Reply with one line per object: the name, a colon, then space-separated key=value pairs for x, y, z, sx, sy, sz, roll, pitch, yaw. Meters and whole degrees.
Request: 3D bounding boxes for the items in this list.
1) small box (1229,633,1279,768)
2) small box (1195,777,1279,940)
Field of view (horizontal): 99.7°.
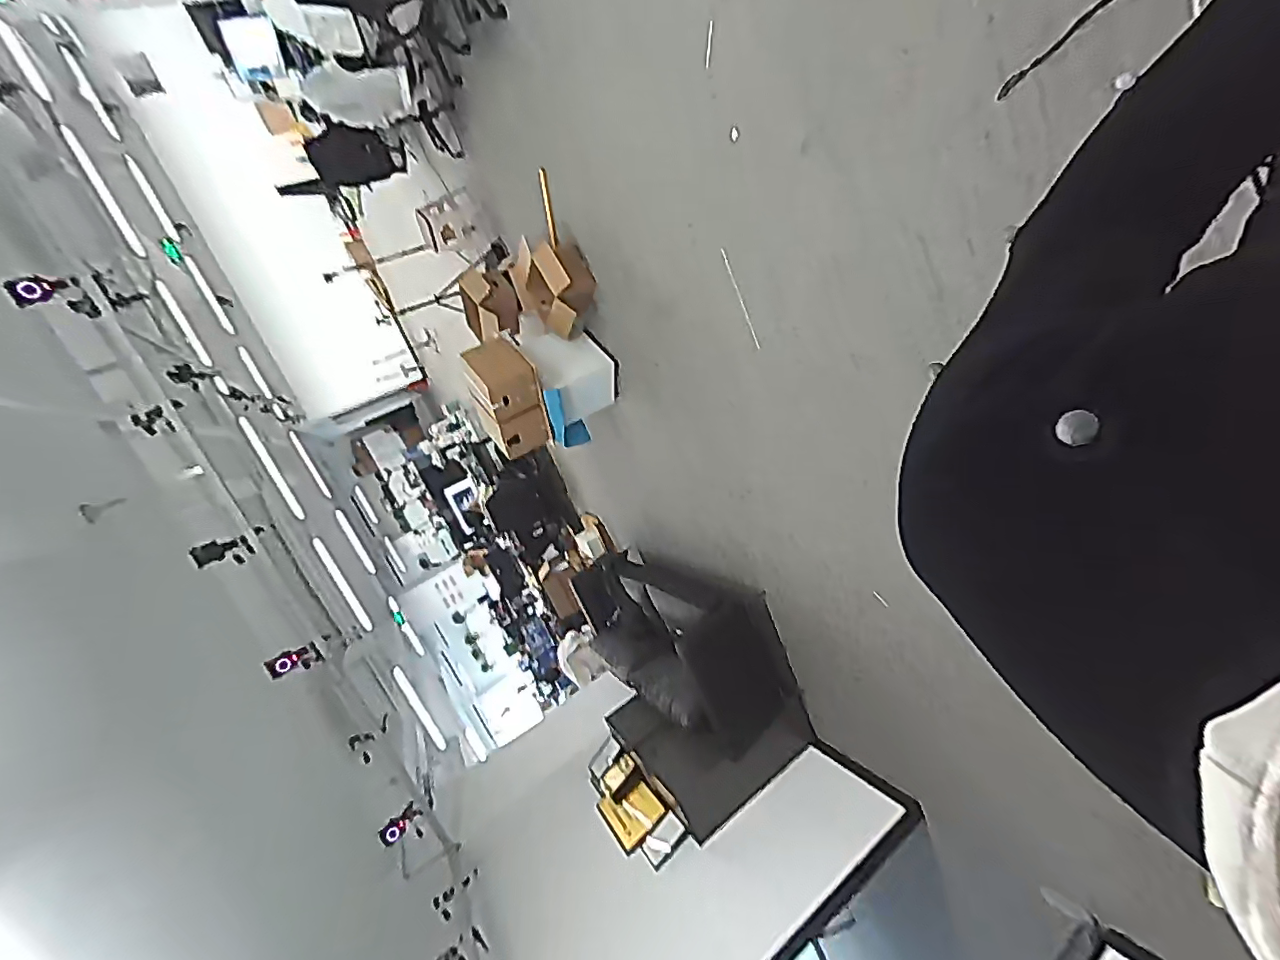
small box: x=1.182 y=0.401 z=0.948 sx=0.168 sy=0.176 sz=0.179 roll=13 pitch=130 yaw=62
small box: x=1.136 y=0.683 z=0.959 sx=0.168 sy=0.176 sz=0.179 roll=12 pitch=126 yaw=62
